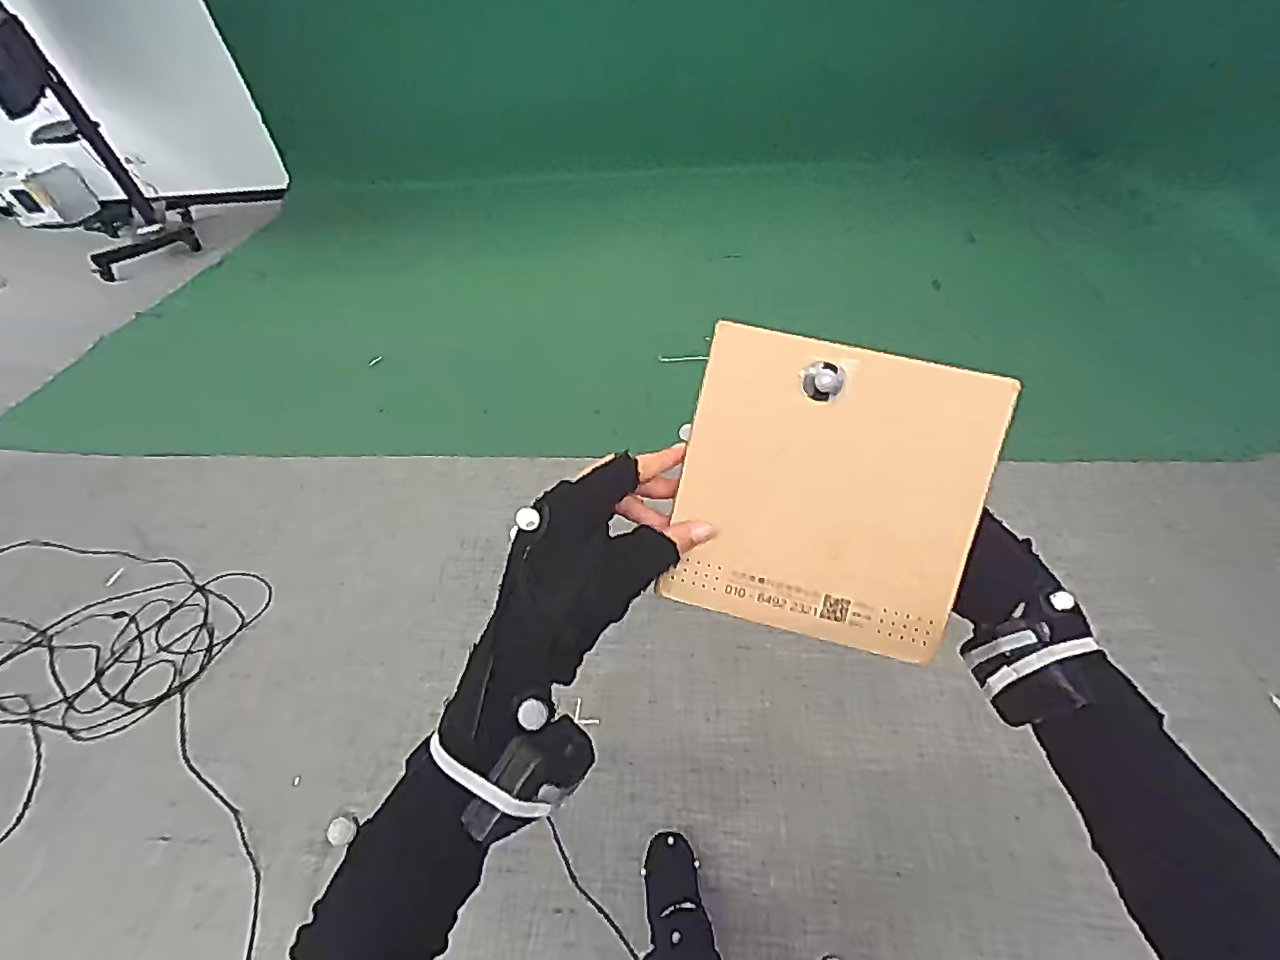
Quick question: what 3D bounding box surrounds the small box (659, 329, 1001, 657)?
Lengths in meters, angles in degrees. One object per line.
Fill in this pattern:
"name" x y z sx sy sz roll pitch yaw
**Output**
"small box" 0.116 0.003 0.400 0.168 0.176 0.179 14 7 7
